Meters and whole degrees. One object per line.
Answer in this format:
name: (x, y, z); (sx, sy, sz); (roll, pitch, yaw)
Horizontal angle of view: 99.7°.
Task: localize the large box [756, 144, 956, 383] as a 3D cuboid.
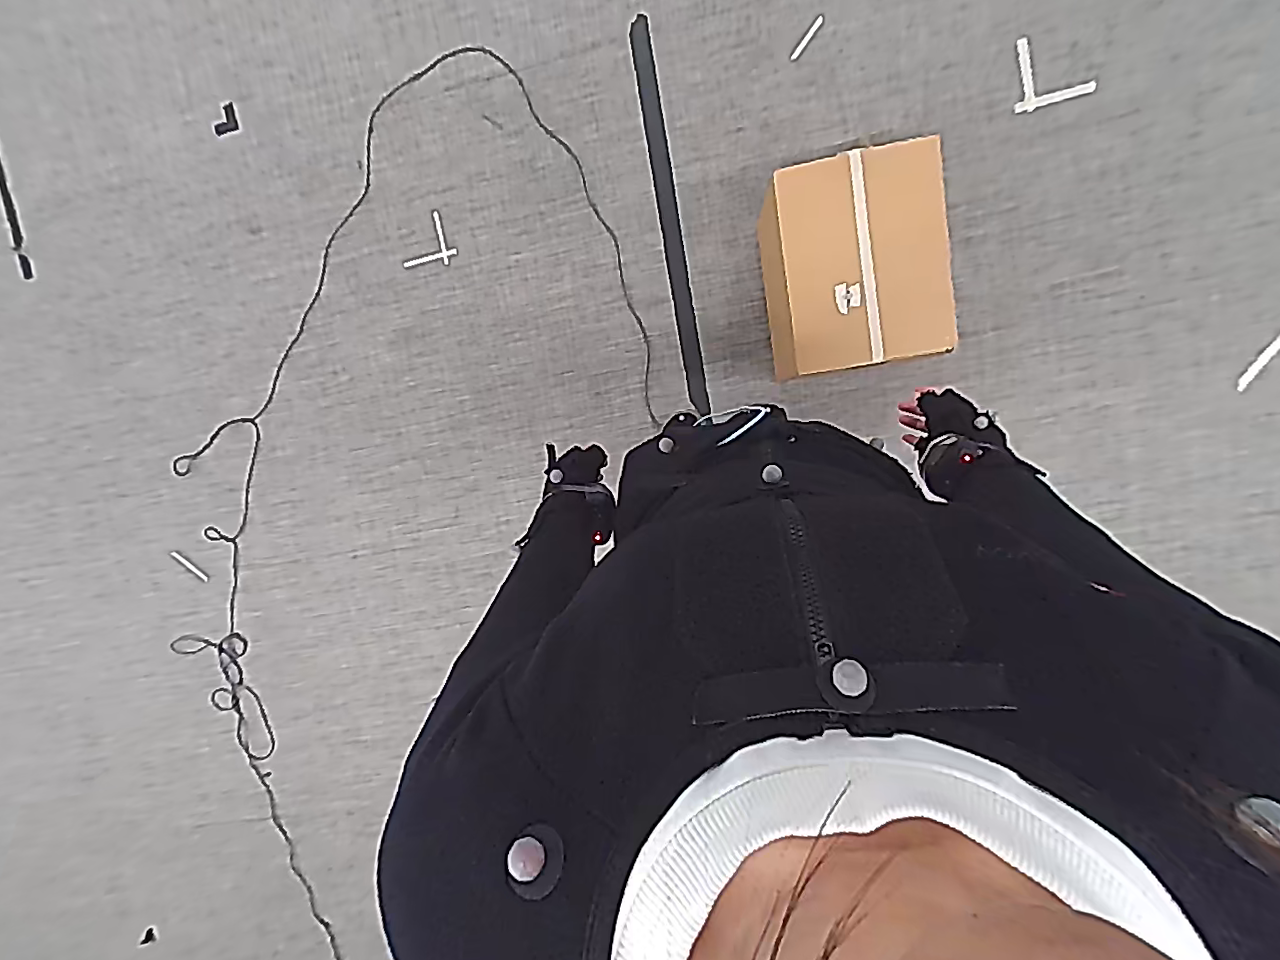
large box: (0.460, -0.447, 1.217); (0.320, 0.320, 0.408); (-9, 97, 8)
